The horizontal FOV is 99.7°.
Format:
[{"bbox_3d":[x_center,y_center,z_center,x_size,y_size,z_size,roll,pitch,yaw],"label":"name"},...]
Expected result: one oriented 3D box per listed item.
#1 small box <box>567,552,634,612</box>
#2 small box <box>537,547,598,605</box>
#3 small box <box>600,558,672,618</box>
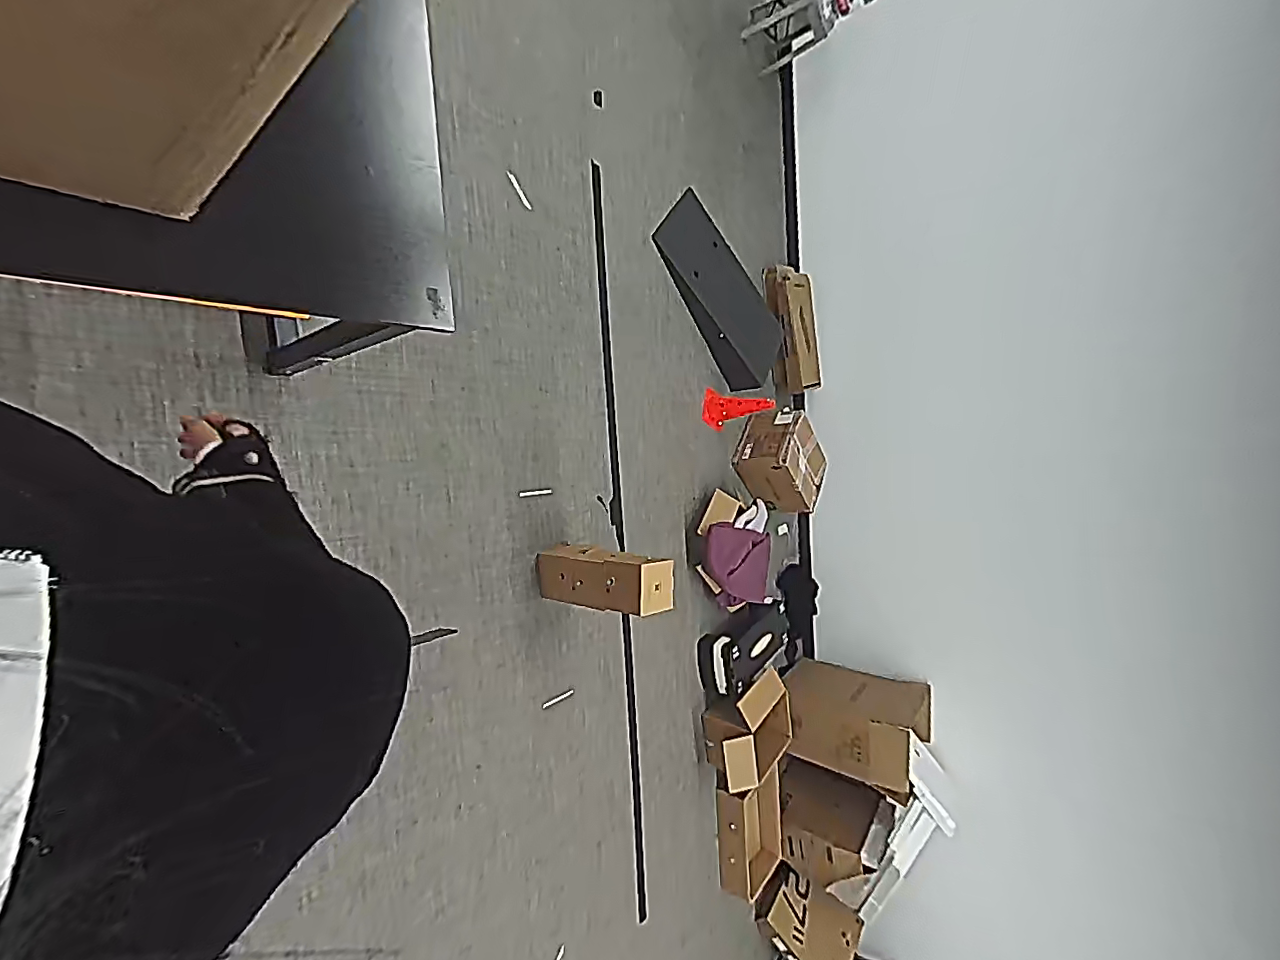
[{"bbox_3d":[-0.135,0.352,1.901,0.179,0.176,0.168,-7,95,-51],"label":"small box"},{"bbox_3d":[-0.264,0.348,2.003,0.168,0.176,0.179,-13,100,-50],"label":"small box"},{"bbox_3d":[-0.013,0.352,1.793,0.179,0.176,0.168,2,88,-50],"label":"small box"}]
